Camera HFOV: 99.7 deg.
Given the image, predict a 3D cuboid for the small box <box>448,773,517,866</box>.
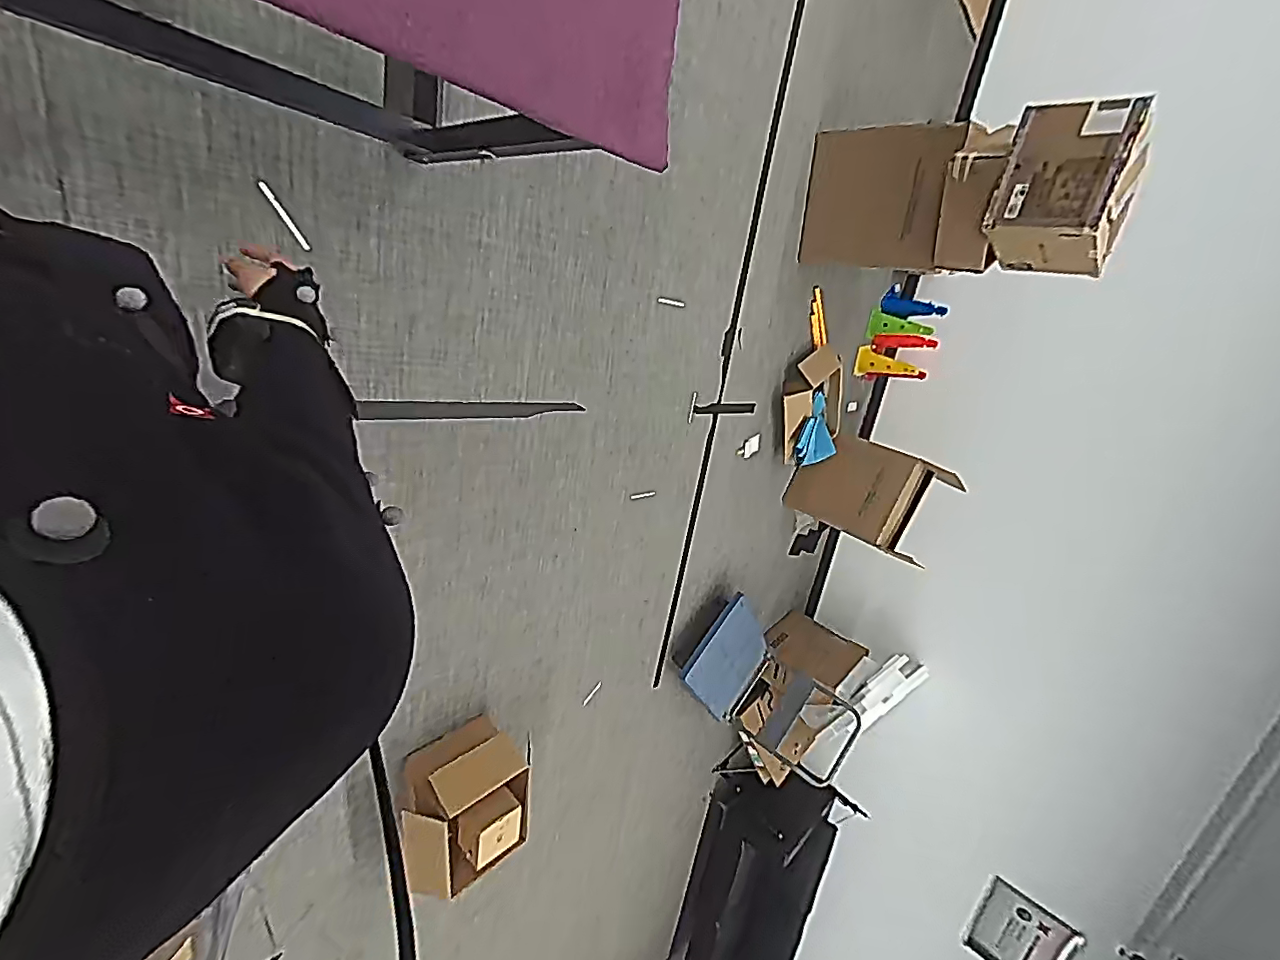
[{"bbox_3d":[-0.551,1.171,1.876,0.168,0.176,0.179,-13,118,-47],"label":"small box"}]
